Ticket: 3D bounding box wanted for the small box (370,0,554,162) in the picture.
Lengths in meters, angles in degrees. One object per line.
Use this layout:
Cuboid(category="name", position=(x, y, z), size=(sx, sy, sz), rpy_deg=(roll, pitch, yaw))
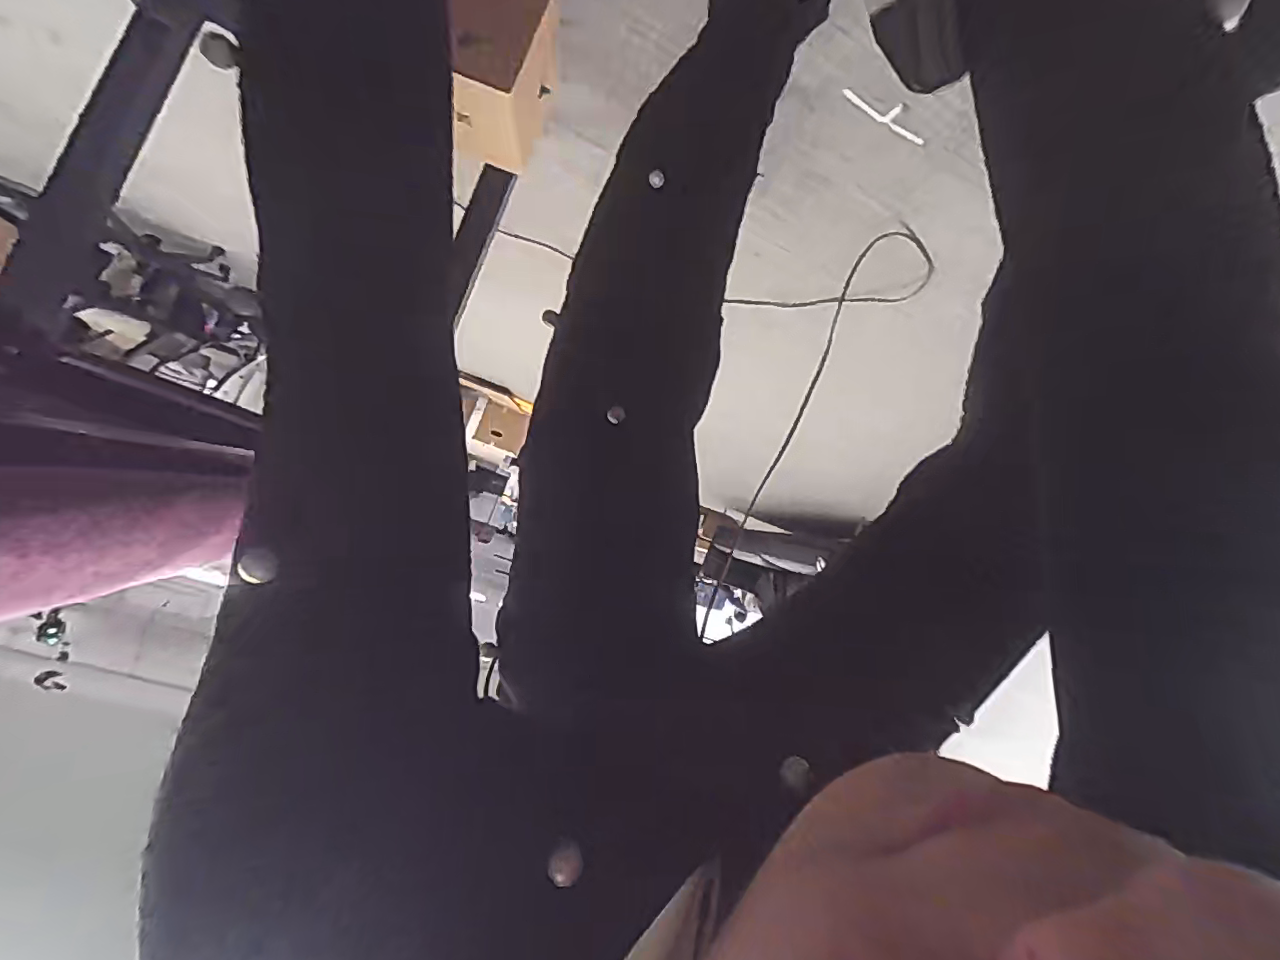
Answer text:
Cuboid(category="small box", position=(-0.220, -0.581, 0.723), size=(0.179, 0.176, 0.168), rpy_deg=(20, 174, -6))
